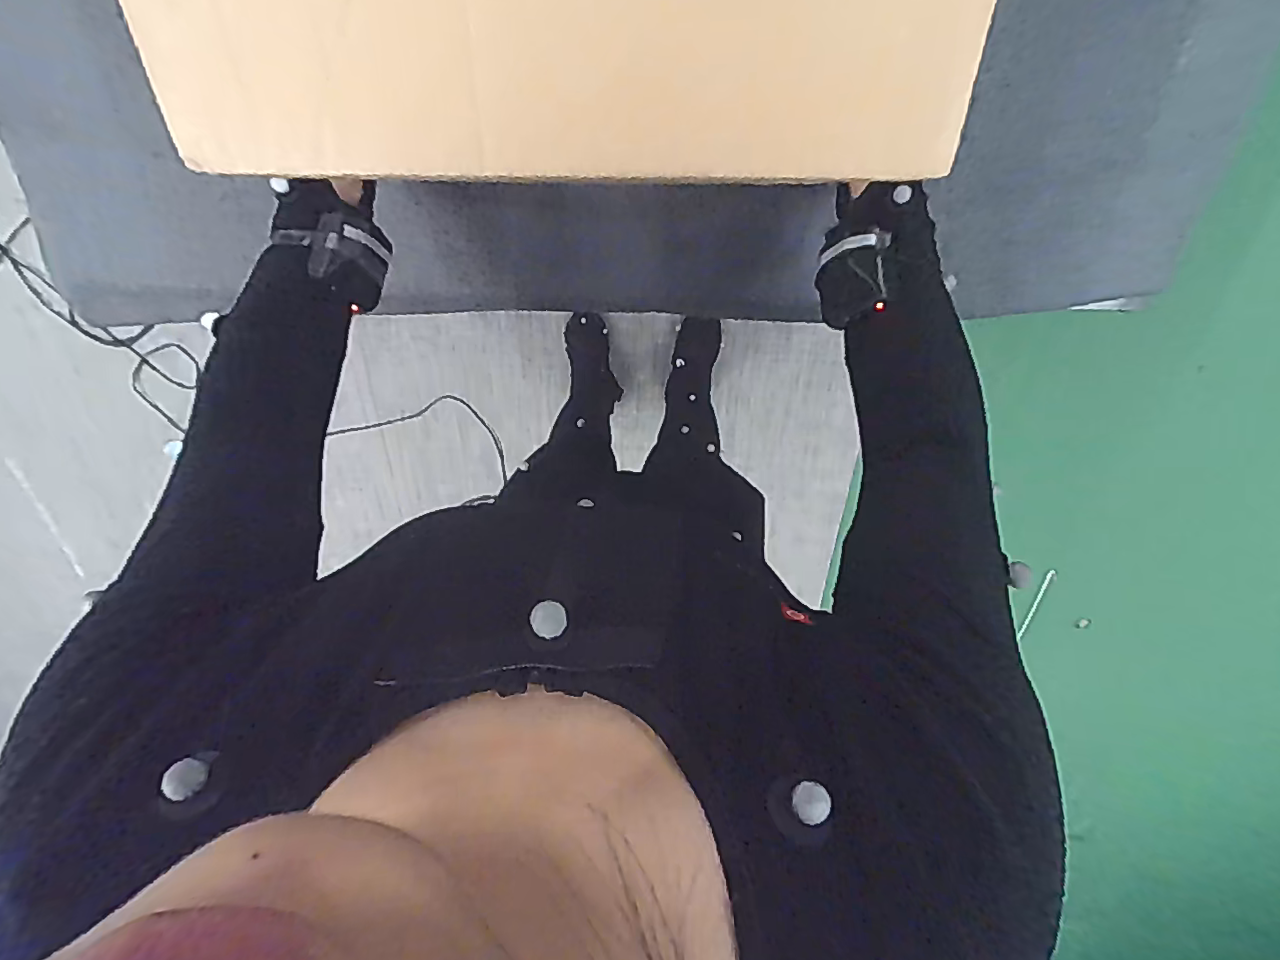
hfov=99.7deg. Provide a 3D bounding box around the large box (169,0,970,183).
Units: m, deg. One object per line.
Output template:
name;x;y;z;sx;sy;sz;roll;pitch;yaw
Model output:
large box;-0.034;-0.378;0.358;0.408;0.320;0.320;1;120;2
